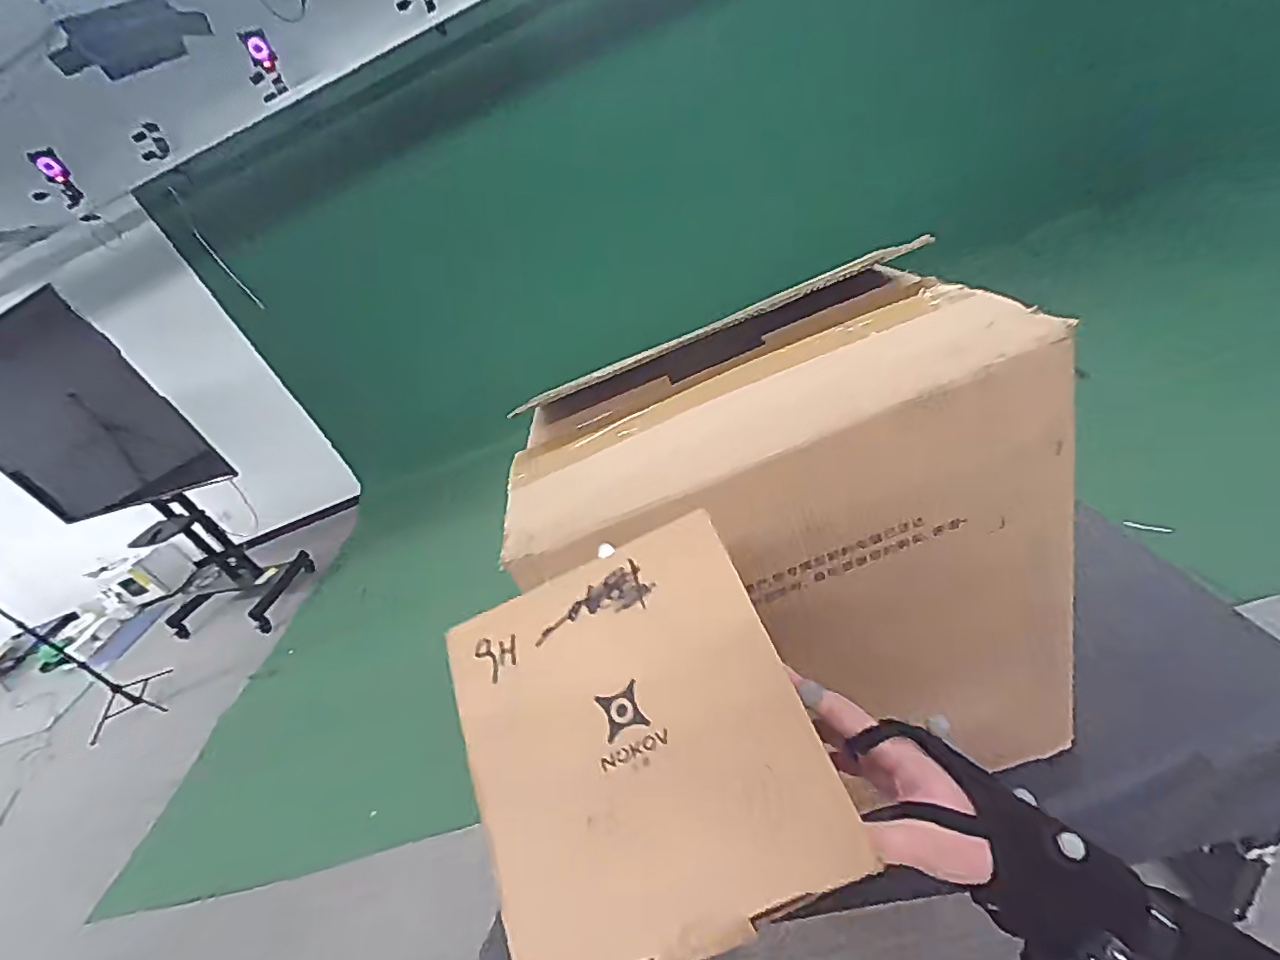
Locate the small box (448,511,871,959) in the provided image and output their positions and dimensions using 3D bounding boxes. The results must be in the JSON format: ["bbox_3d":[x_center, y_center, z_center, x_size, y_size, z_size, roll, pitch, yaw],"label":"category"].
[{"bbox_3d":[0.014,0.149,0.336,0.168,0.176,0.179,-26,64,3],"label":"small box"}]
